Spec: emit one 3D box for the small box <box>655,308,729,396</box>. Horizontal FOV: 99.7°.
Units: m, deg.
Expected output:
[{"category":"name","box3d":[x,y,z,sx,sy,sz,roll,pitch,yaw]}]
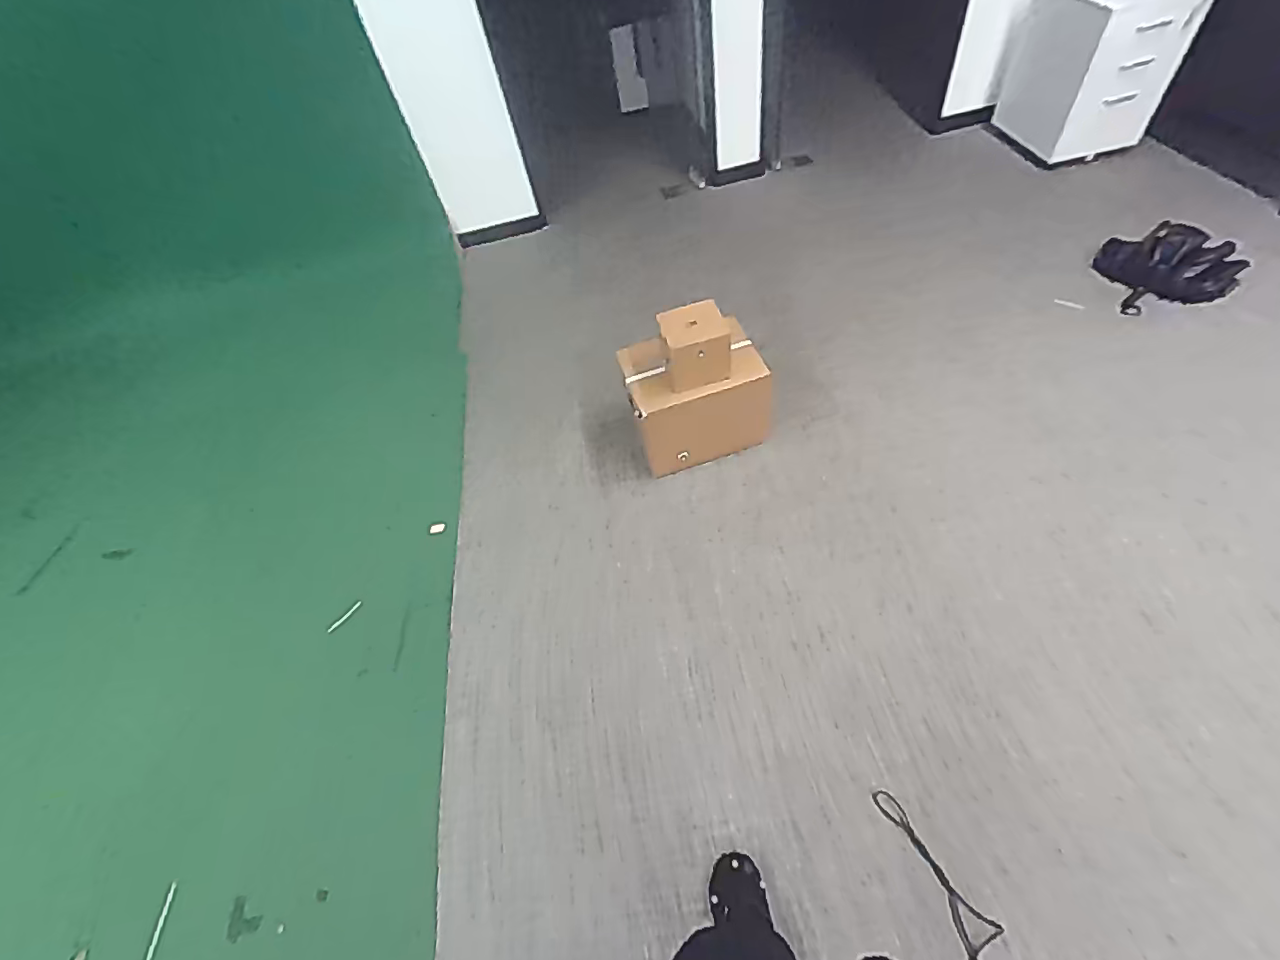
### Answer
[{"category":"small box","box3d":[0.155,-0.370,1.583,0.179,0.176,0.168,-16,53,-3]}]
